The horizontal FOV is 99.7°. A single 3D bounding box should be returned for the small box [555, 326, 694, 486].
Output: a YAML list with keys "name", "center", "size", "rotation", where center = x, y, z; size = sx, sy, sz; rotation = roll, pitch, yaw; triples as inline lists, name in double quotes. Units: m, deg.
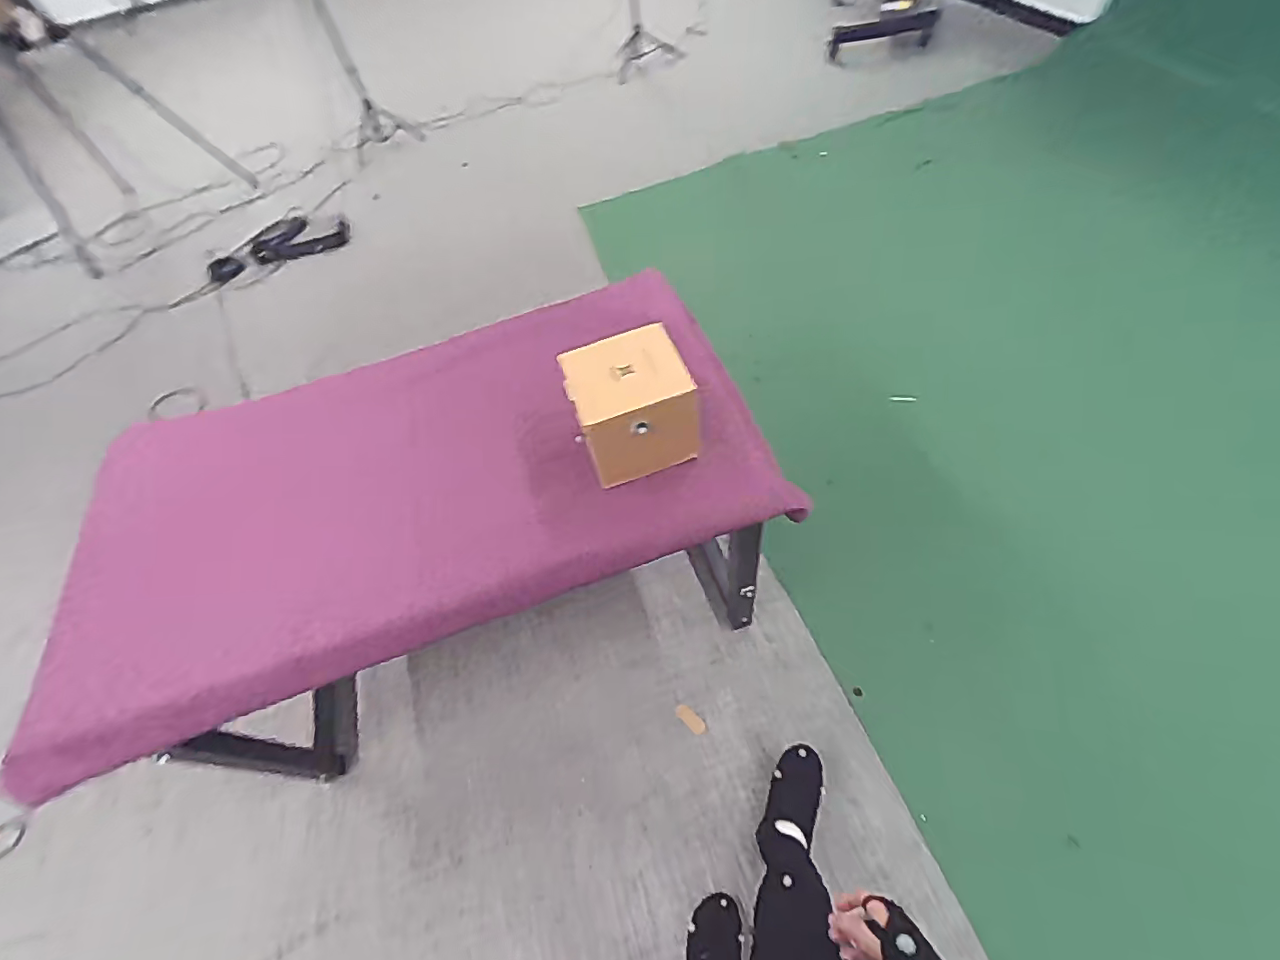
- name: "small box"
  center: [-0.020, -0.115, 0.884]
  size: [0.179, 0.176, 0.168]
  rotation: [-19, 54, -4]
